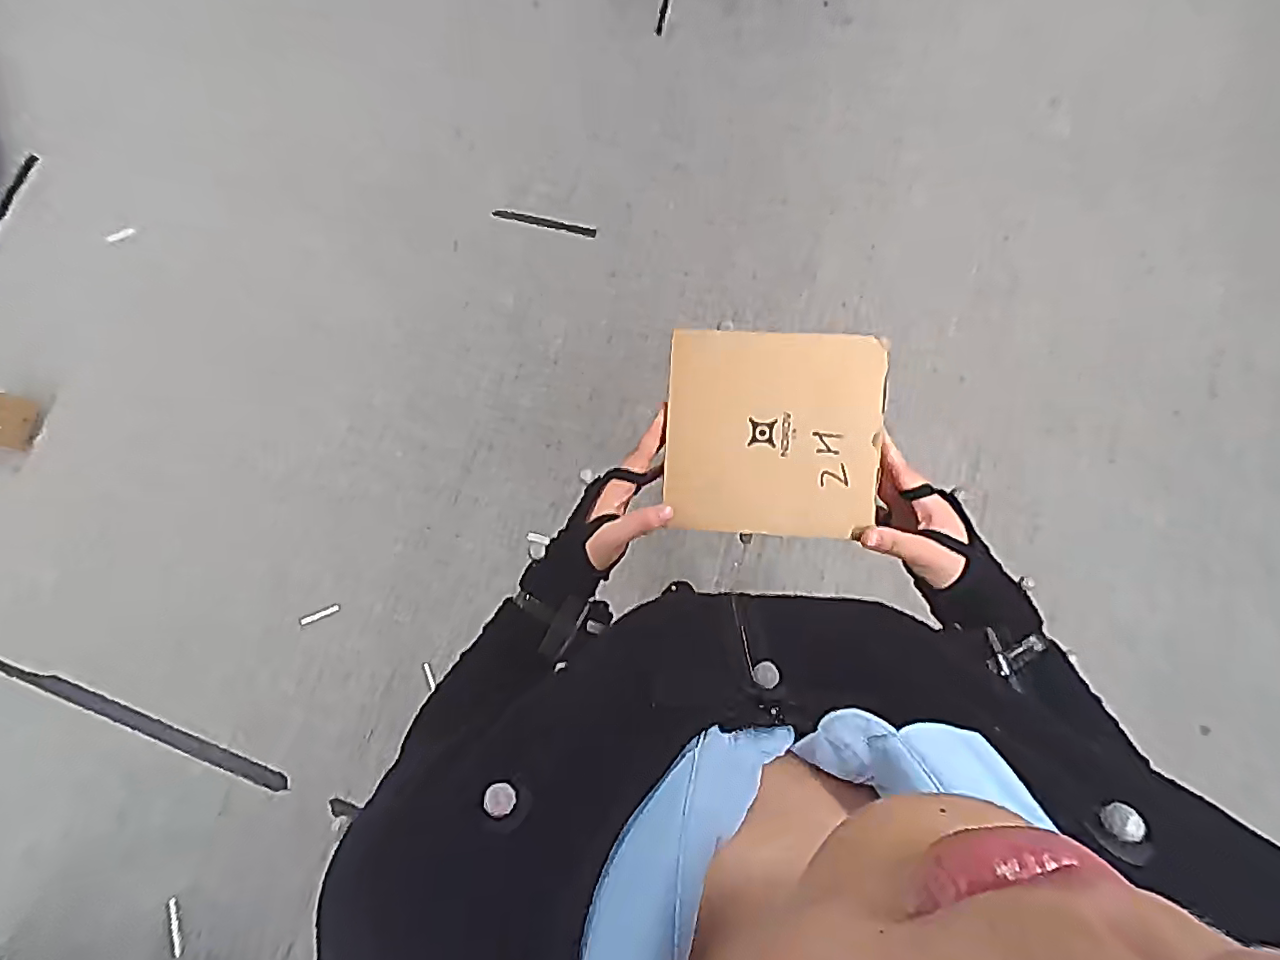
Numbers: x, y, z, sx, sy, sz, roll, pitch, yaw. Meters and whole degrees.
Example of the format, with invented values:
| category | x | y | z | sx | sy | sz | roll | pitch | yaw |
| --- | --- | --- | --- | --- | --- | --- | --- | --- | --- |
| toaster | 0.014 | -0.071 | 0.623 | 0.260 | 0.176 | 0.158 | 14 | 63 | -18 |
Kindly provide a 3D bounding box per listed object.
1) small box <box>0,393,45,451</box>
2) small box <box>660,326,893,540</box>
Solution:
| category | x | y | z | sx | sy | sz | roll | pitch | yaw |
| --- | --- | --- | --- | --- | --- | --- | --- | --- | --- |
| small box | -2.079 | -0.199 | 1.720 | 0.179 | 0.176 | 0.168 | 9 | 79 | 7 |
| small box | 0.115 | -0.043 | 0.516 | 0.179 | 0.176 | 0.168 | 4 | 94 | 4 |
